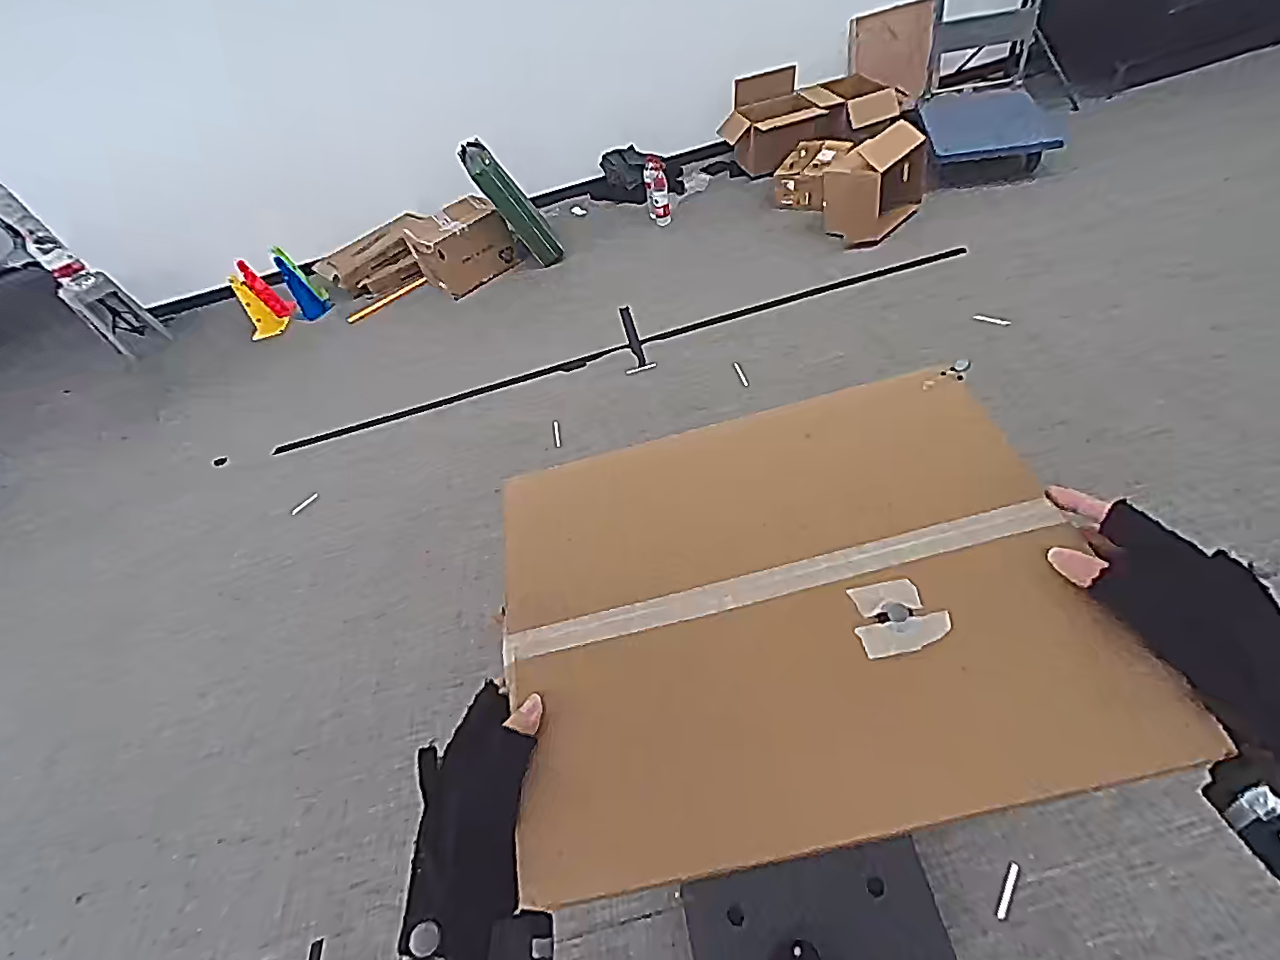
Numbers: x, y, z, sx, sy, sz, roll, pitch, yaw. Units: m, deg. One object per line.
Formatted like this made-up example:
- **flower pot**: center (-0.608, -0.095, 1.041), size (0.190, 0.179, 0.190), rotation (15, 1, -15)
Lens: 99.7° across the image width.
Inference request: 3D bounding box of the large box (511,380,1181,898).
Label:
- **large box**: center (0.125, 0.163, 0.528), size (0.408, 0.320, 0.320), rotation (-15, 55, 3)
